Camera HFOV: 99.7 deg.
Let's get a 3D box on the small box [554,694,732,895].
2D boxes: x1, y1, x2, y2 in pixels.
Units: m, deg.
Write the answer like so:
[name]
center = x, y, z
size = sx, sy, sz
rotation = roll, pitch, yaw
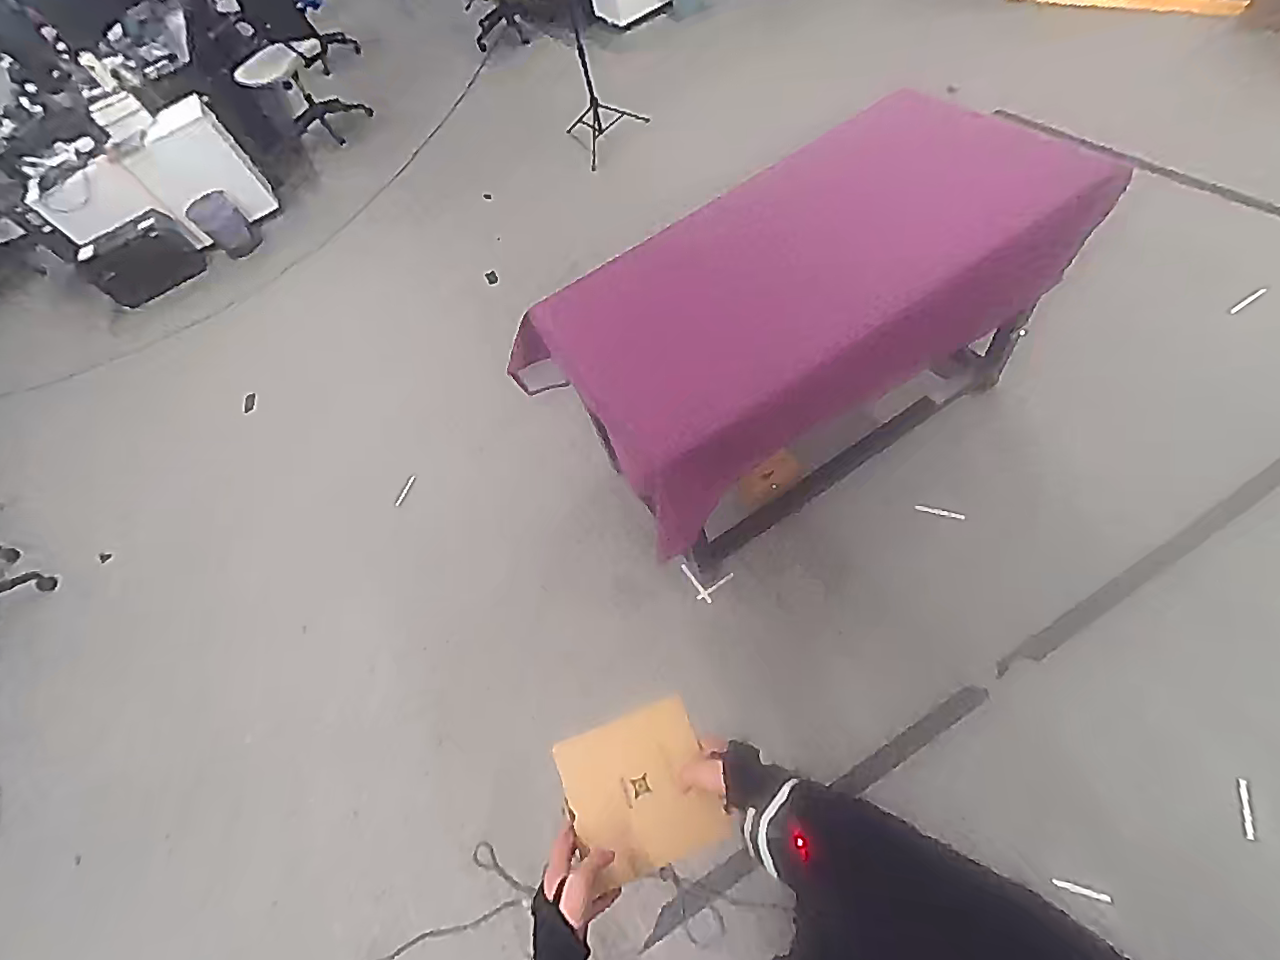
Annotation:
[small box]
center = 0.007, 0.404, 0.705
size = 0.179, 0.176, 0.168
rotation = -20, 59, -6
